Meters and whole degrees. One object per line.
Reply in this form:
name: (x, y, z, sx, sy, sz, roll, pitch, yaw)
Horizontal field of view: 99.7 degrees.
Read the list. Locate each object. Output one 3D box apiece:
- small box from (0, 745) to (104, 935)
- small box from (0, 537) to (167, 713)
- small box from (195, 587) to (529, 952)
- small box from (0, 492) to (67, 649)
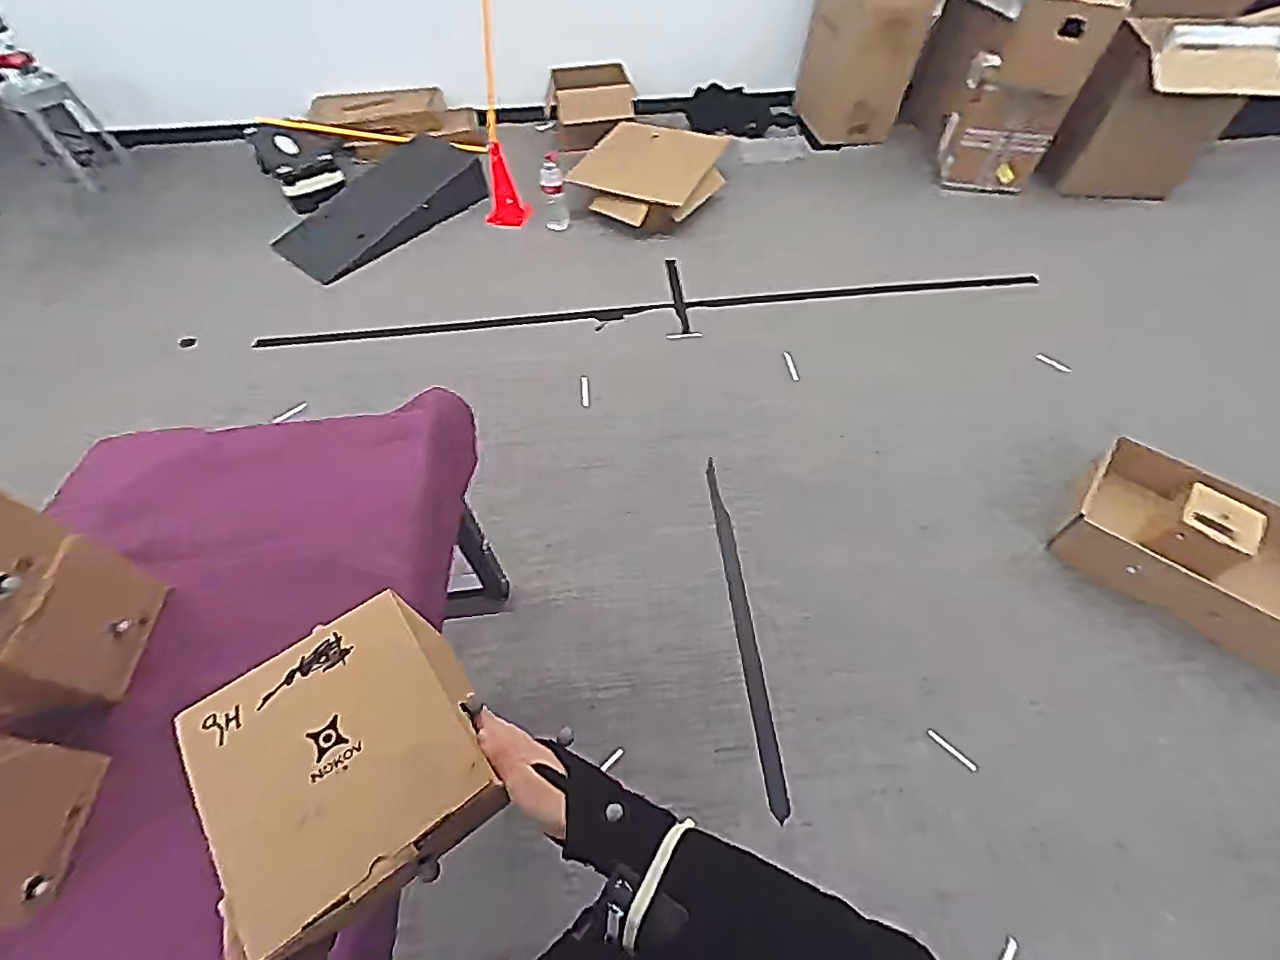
small box: (-0.732, 0.376, 0.556, 0.179, 0.176, 0.168, -5, 55, -3)
small box: (-0.776, 0.190, 0.687, 0.179, 0.176, 0.168, -5, 56, -3)
small box: (-0.209, 0.225, 0.452, 0.168, 0.176, 0.179, -31, 66, -20)
small box: (-0.783, 0.092, 0.556, 0.179, 0.176, 0.168, -7, 56, -5)
